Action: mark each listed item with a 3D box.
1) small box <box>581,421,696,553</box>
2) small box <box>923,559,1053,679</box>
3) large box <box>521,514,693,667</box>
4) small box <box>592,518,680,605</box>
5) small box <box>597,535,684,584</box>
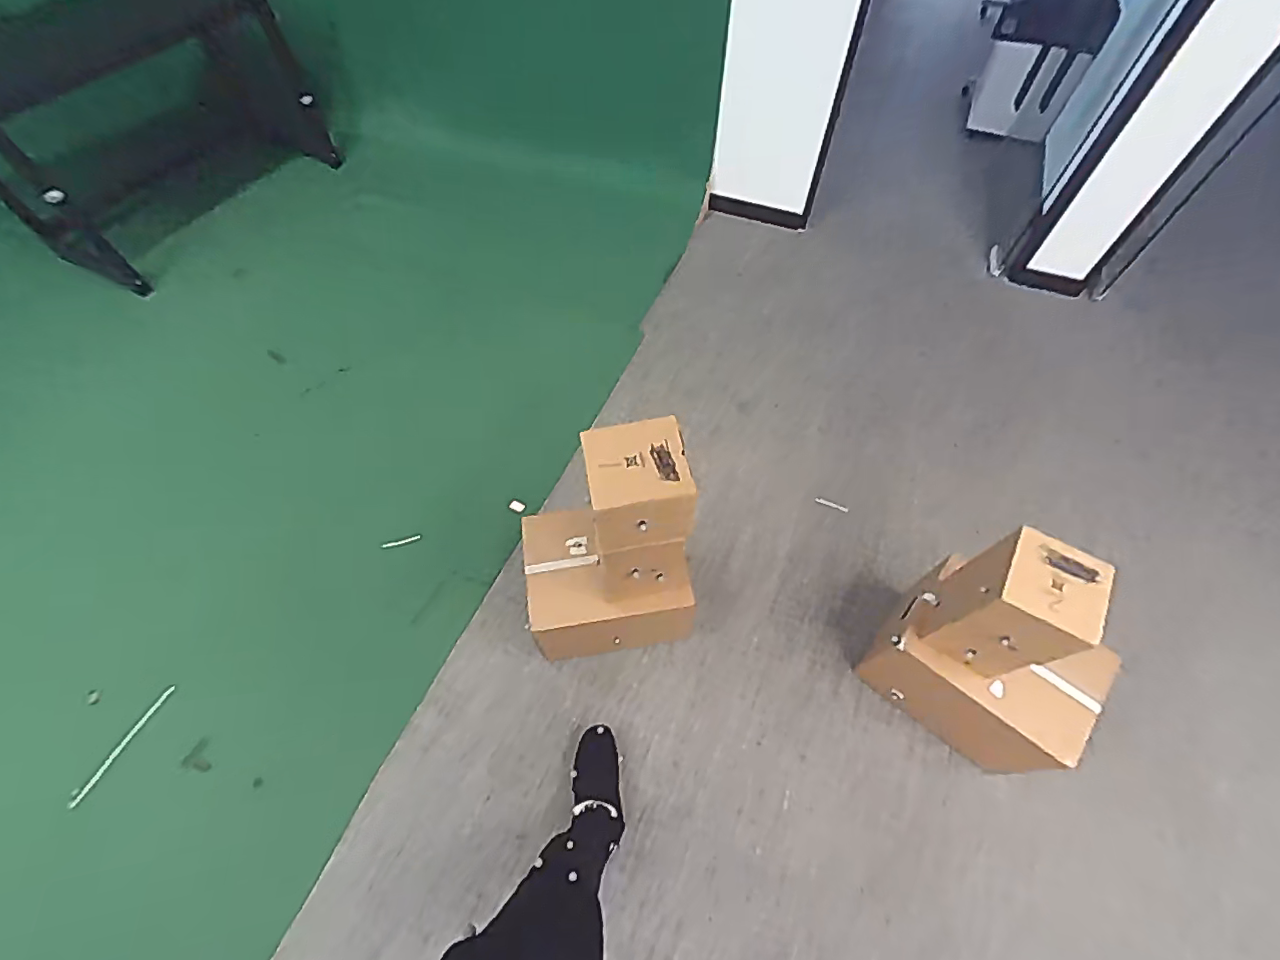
[{"bbox_3d":[-0.005,0.016,0.986,0.179,0.176,0.168,-10,59,-4],"label":"small box"},{"bbox_3d":[0.754,0.312,1.190,0.168,0.176,0.179,29,64,16],"label":"small box"},{"bbox_3d":[-0.090,0.294,1.487,0.408,0.320,0.320,-9,57,-5],"label":"large box"},{"bbox_3d":[-0.012,0.178,1.269,0.179,0.176,0.168,-9,58,-6],"label":"small box"},{"bbox_3d":[-0.009,0.099,1.128,0.168,0.176,0.179,-8,59,-4],"label":"small box"}]
